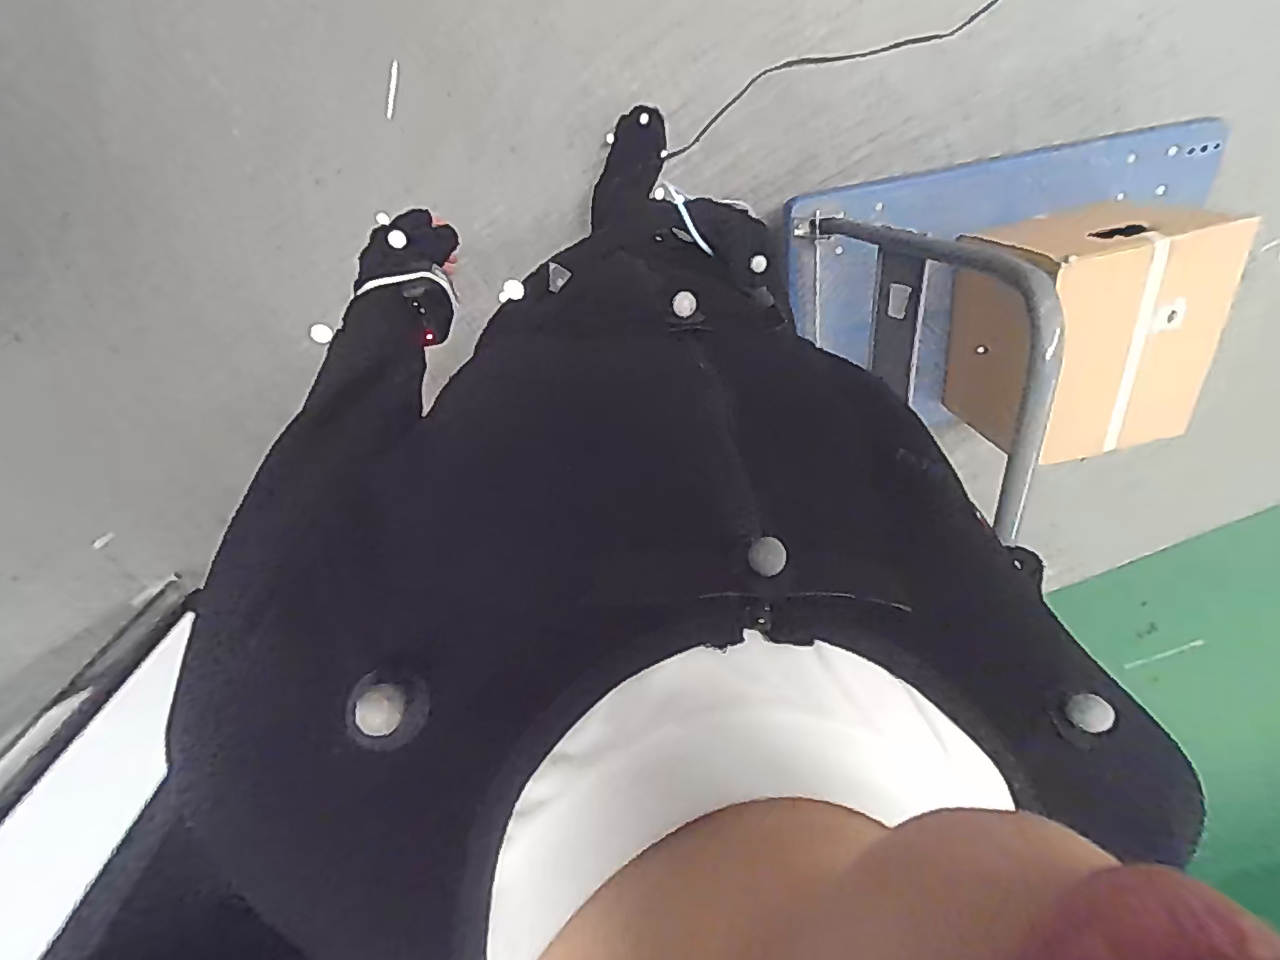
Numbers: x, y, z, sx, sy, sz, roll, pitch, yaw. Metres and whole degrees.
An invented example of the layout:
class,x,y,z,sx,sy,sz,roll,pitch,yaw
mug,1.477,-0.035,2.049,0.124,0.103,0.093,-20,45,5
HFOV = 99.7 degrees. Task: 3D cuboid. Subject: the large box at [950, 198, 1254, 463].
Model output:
class,x,y,z,sx,sy,sz,roll,pitch,yaw
large box,0.865,-0.305,1.091,0.320,0.320,0.408,-13,121,5
